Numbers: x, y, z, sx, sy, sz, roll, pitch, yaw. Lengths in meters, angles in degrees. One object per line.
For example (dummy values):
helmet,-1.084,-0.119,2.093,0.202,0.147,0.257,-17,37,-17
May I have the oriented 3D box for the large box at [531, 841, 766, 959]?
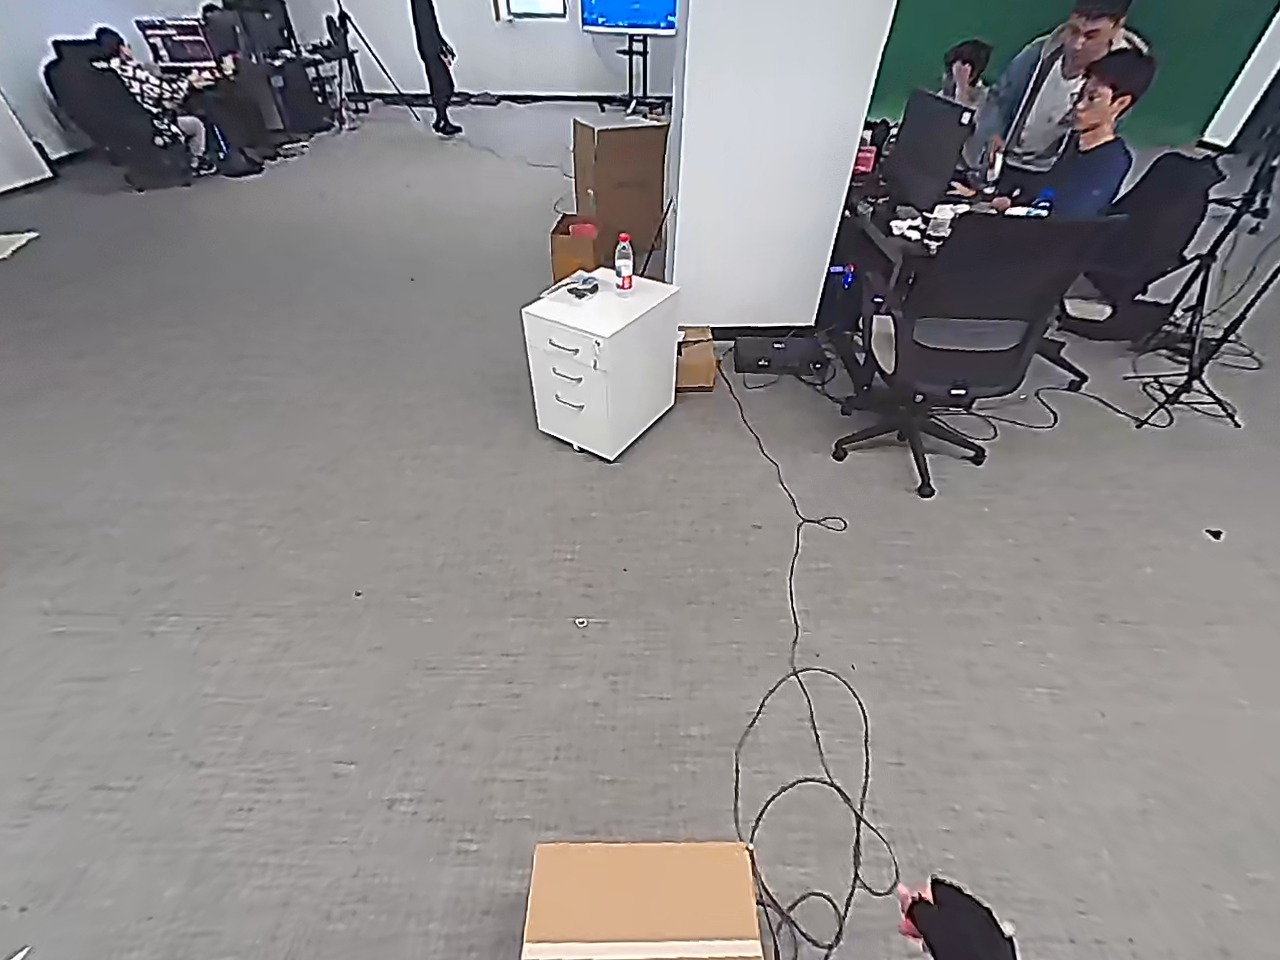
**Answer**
large box,0.012,0.907,1.014,0.408,0.320,0.320,0,42,0
